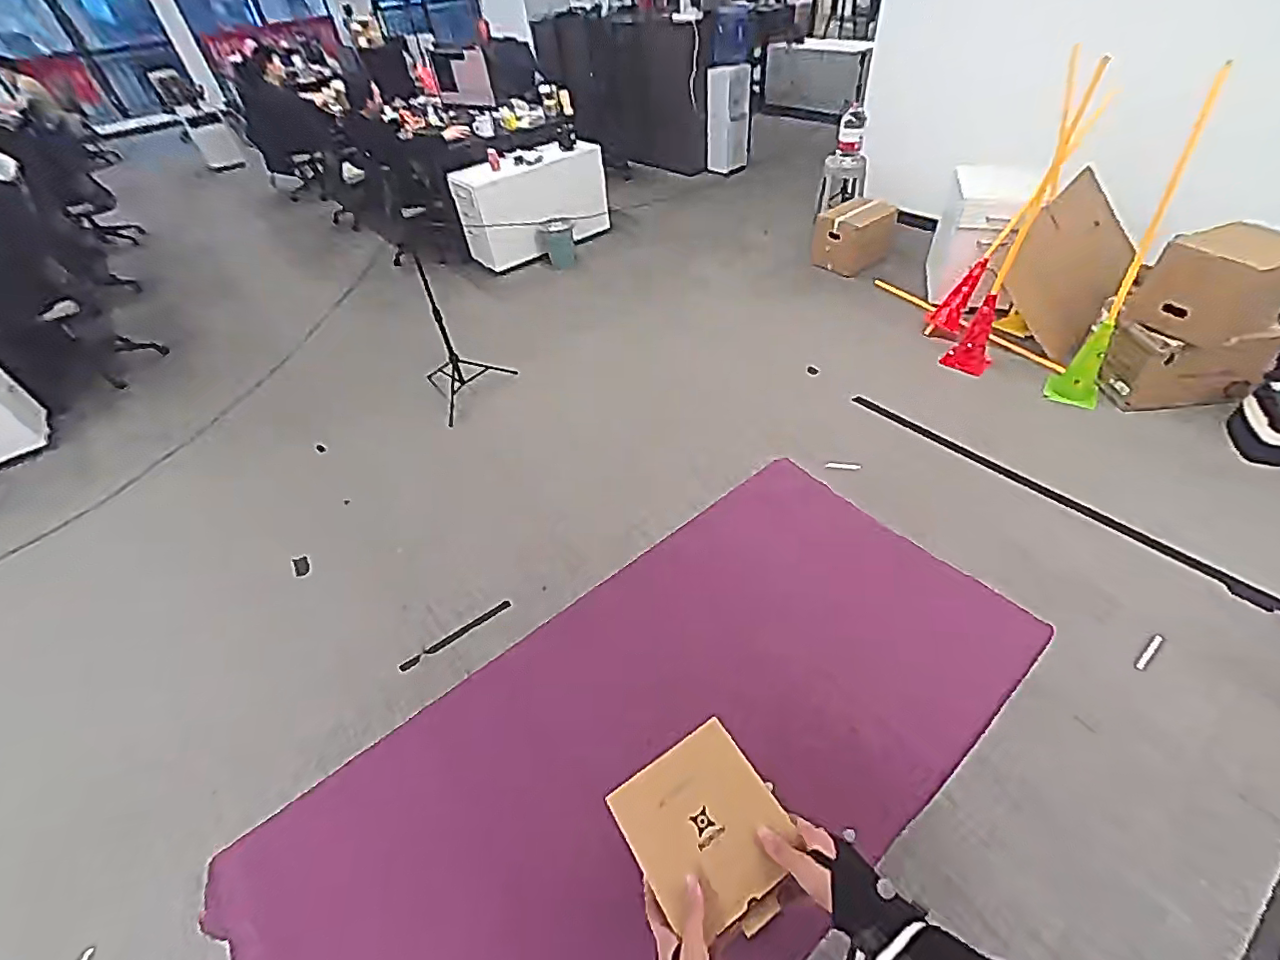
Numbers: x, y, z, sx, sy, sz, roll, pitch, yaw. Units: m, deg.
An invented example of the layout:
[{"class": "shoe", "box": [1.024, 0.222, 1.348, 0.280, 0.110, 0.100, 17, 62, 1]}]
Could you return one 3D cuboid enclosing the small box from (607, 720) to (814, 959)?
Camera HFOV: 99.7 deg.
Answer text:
[{"class": "small box", "box": [0.085, 0.438, 0.658, 0.168, 0.176, 0.179, -29, 49, -16]}]
